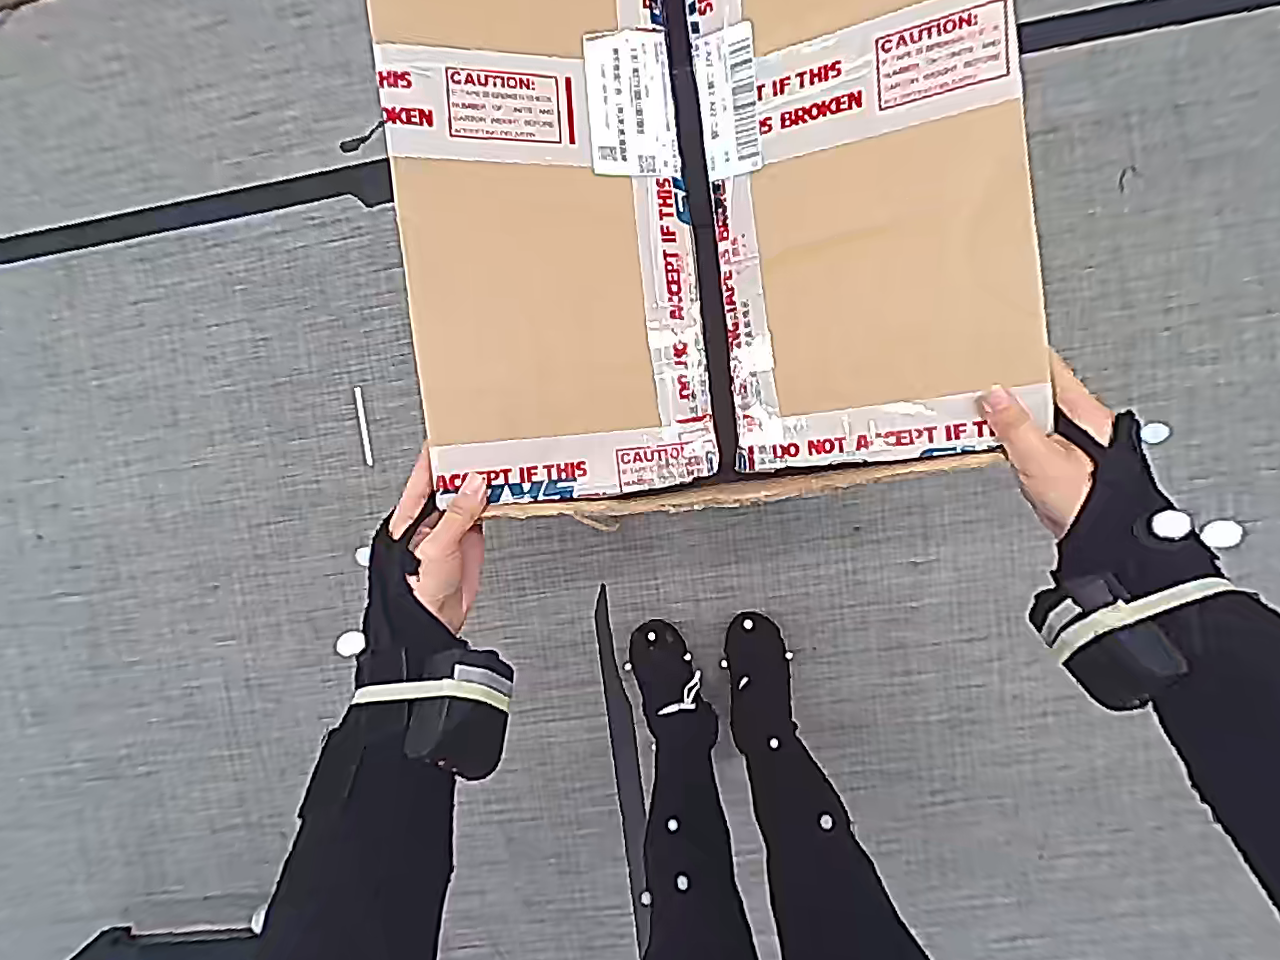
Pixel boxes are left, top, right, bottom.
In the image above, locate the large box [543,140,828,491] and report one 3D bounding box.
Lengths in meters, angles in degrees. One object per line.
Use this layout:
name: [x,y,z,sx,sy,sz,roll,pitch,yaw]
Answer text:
large box: [0.066,-0.217,0.838,0.320,0.320,0.408,-9,94,5]
